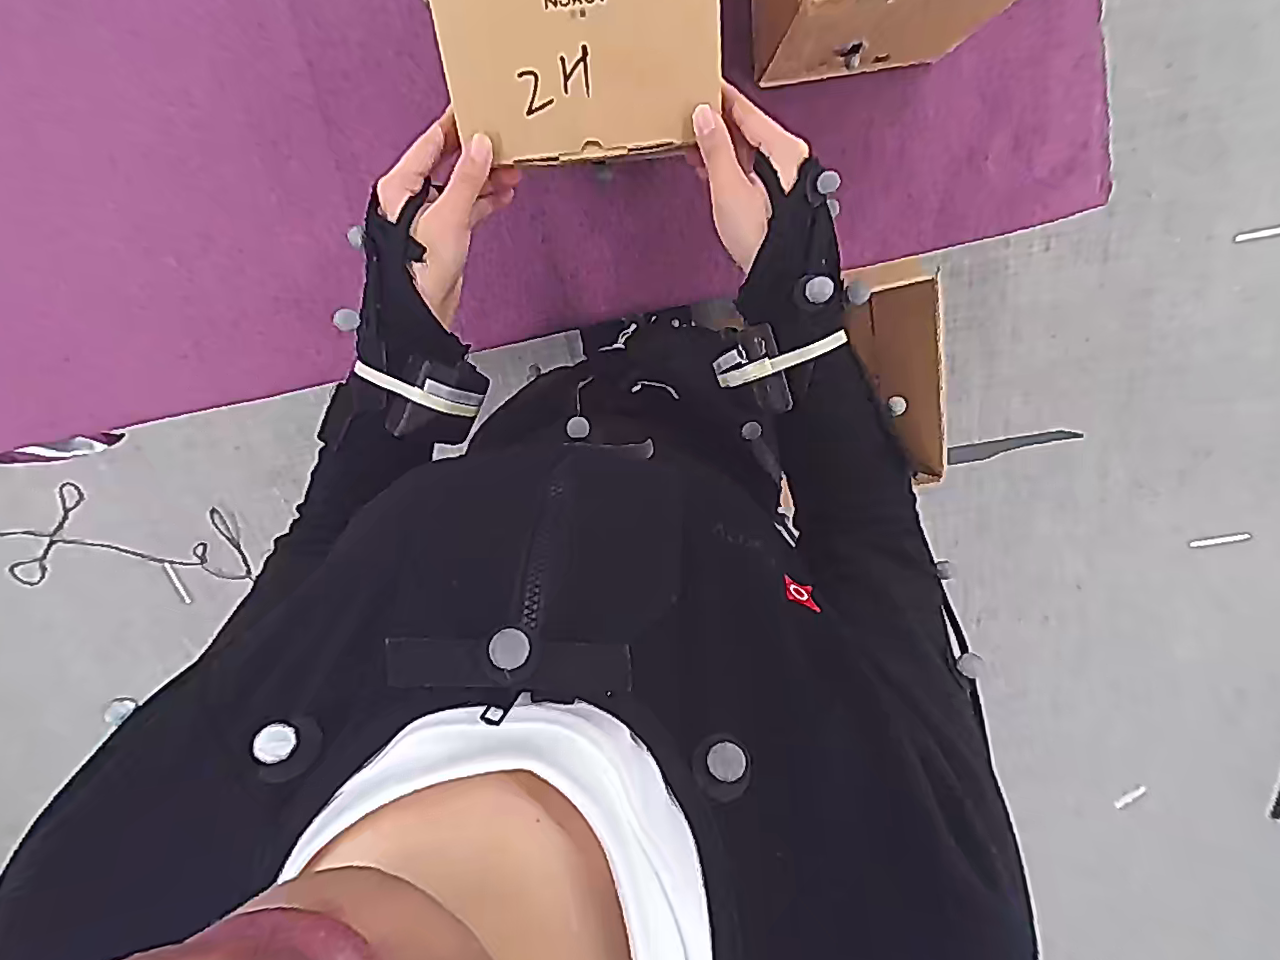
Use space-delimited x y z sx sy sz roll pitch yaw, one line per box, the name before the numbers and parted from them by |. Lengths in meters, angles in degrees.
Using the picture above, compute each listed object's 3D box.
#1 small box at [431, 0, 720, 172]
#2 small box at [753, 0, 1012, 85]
small box | -0.038 -0.321 0.372 0.168 0.176 0.179 -5 119 4
small box | 0.174 -0.419 0.383 0.168 0.176 0.179 -6 111 4
